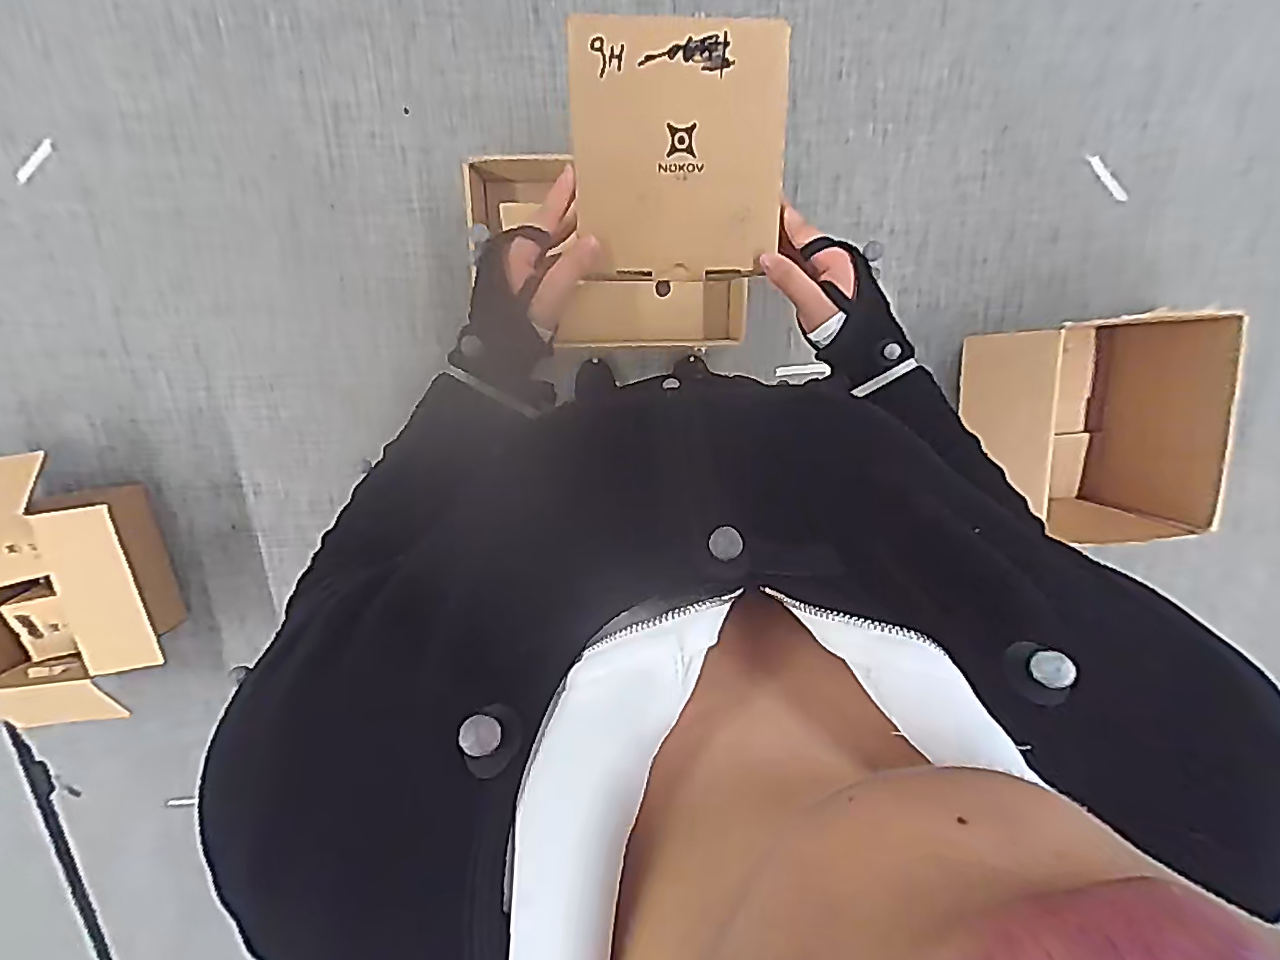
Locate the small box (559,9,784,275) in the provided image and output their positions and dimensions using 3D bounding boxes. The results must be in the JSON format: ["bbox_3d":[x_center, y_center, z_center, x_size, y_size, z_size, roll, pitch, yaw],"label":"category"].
[{"bbox_3d":[0.017,-0.280,0.490,0.168,0.176,0.179,-3,110,-5],"label":"small box"}]

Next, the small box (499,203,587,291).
[{"bbox_3d":[-0.215,-0.527,1.241,0.179,0.176,0.168,-2,106,-3],"label":"small box"}]
